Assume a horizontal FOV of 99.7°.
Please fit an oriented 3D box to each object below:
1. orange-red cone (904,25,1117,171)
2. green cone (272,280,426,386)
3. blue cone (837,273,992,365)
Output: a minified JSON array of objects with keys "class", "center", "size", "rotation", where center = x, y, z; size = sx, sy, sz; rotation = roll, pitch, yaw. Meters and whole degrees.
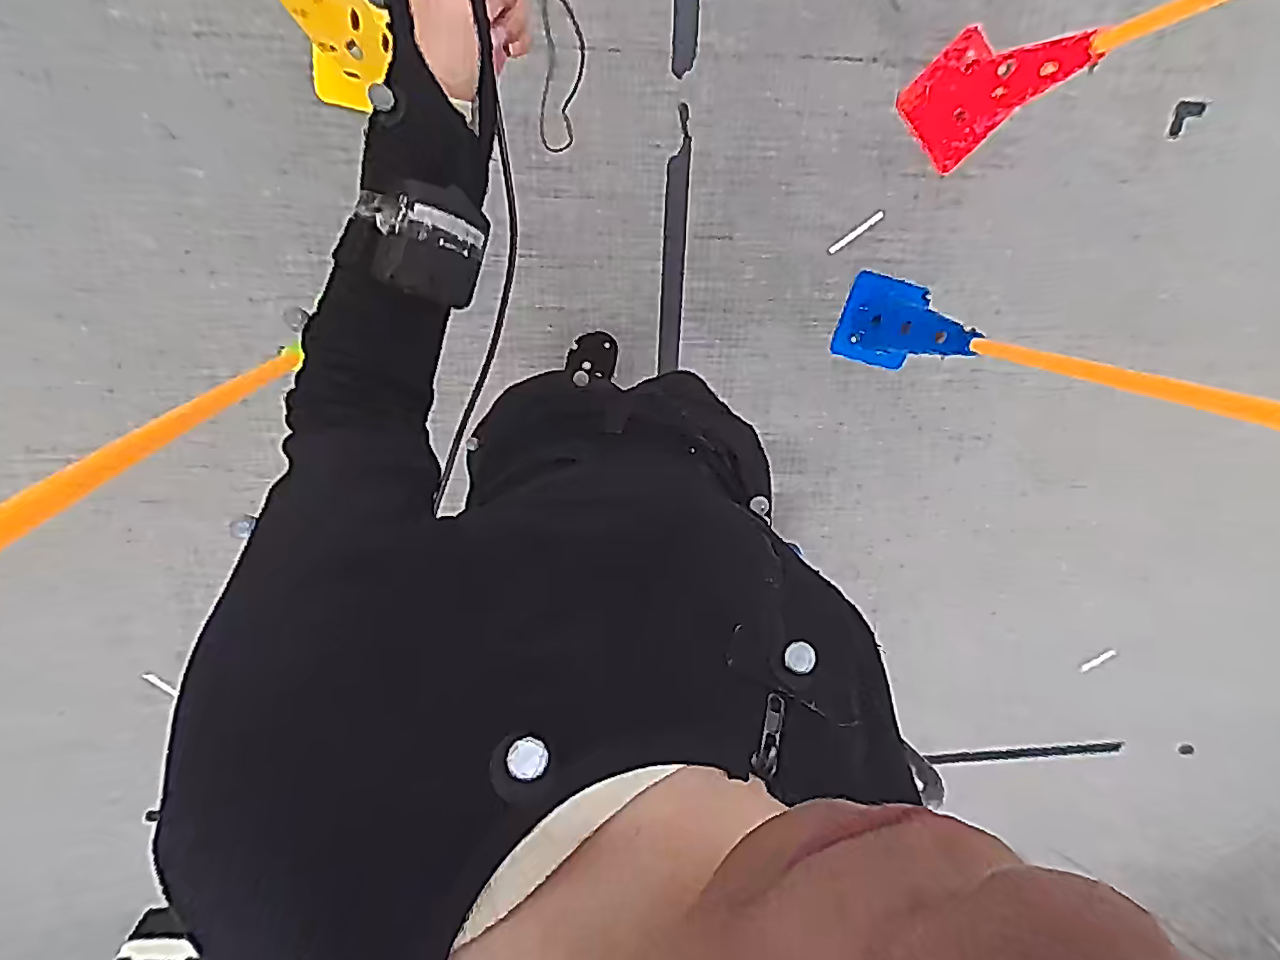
[{"class":"orange-red cone","center":[0.682,-0.721,0.969],"size":[0.199,0.360,0.198],"rotation":[-42,109,13]},{"class":"green cone","center":[-0.583,-0.262,1.040],"size":[0.200,0.368,0.202],"rotation":[-13,111,0]},{"class":"blue cone","center":[0.593,-0.321,1.138],"size":[0.193,0.380,0.192],"rotation":[14,109,-10]}]
